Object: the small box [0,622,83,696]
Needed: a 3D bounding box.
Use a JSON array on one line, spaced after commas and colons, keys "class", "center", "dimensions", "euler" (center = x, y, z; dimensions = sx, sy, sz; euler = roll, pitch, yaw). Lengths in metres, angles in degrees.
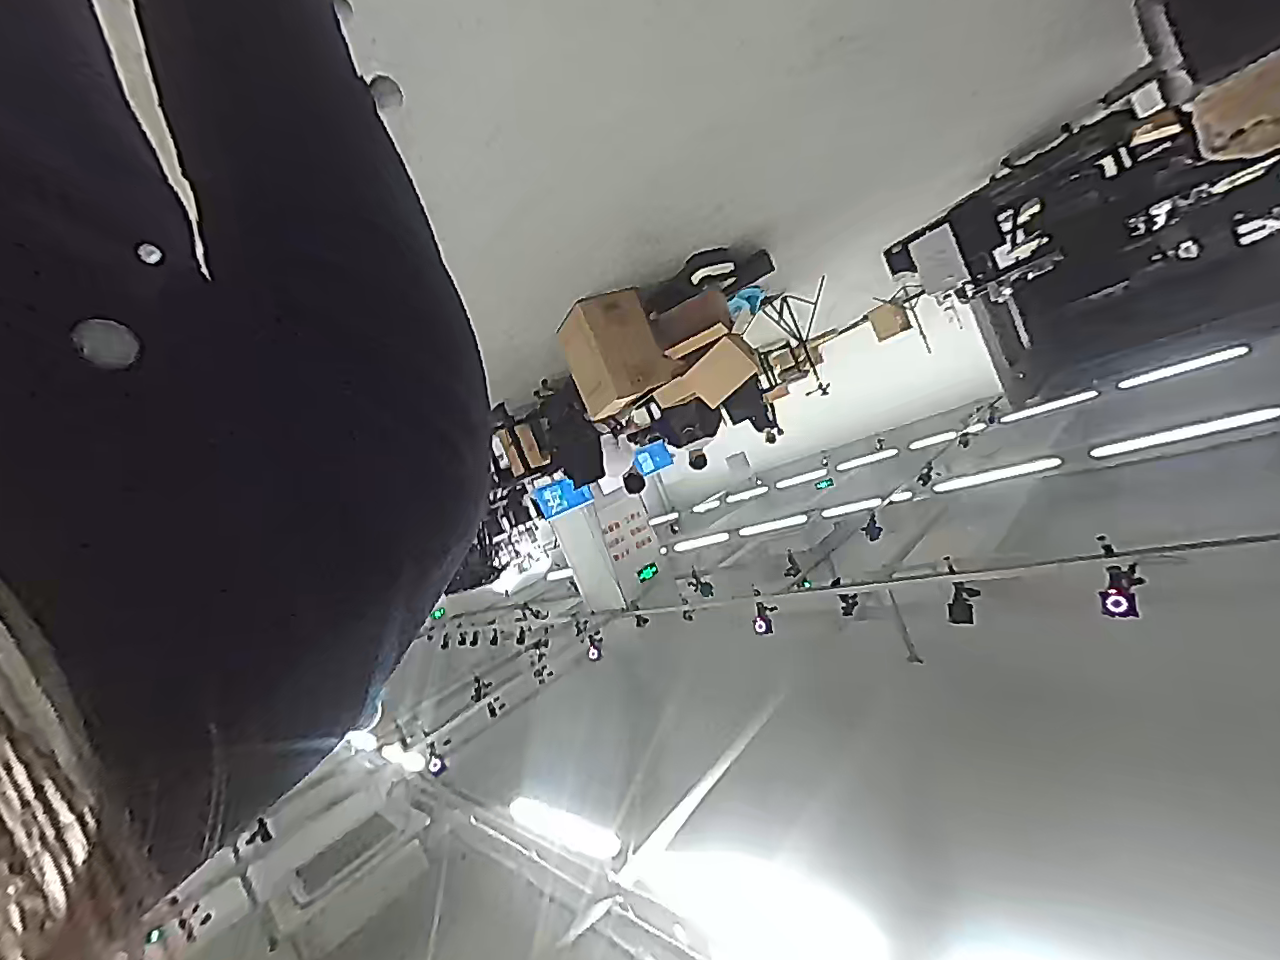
[{"class": "small box", "center": [-2.032, 0.597, 1.812], "dimensions": [0.179, 0.176, 0.168], "euler": [-27, -175, -42]}]
